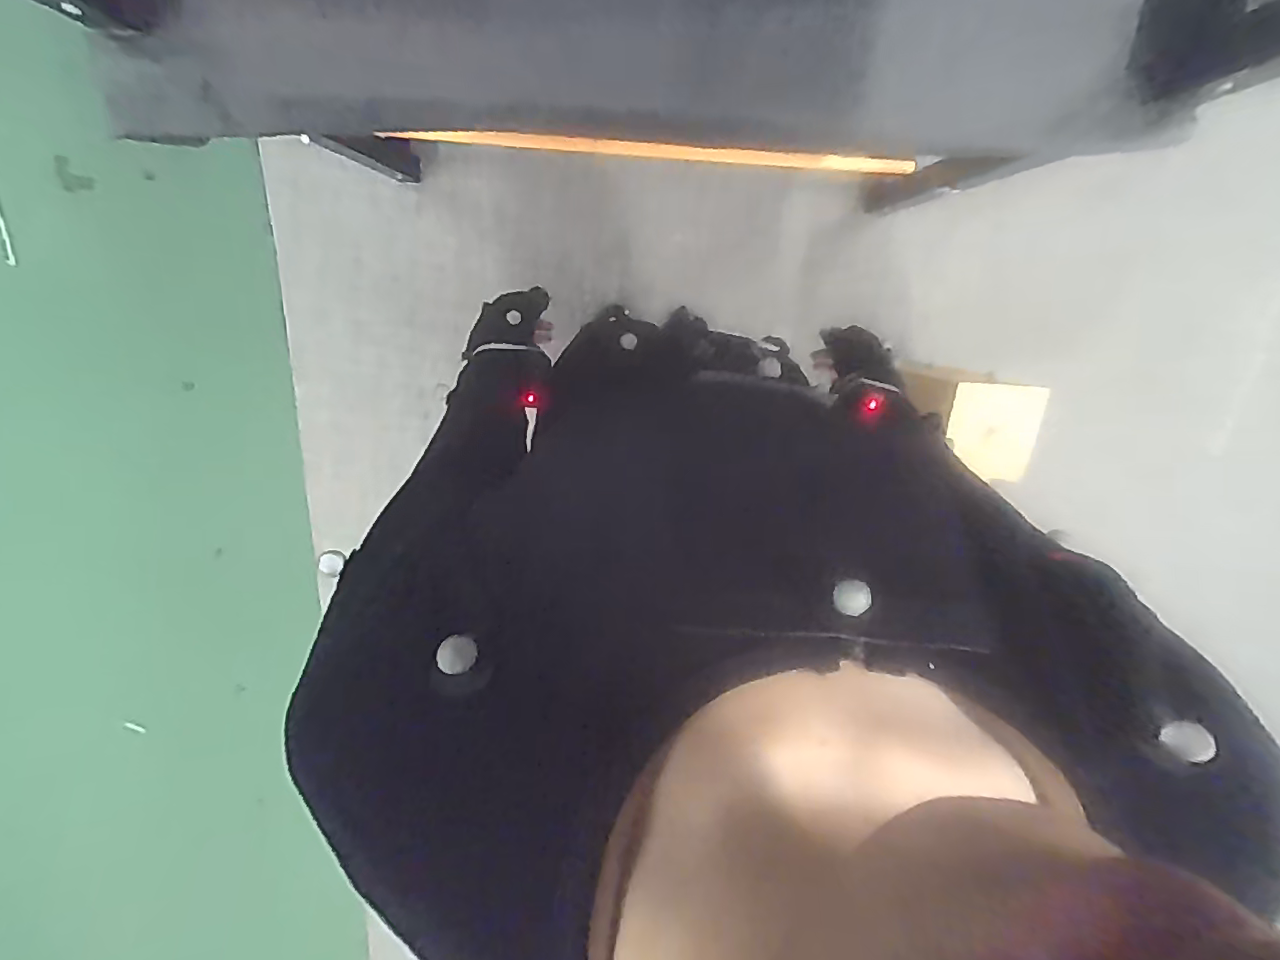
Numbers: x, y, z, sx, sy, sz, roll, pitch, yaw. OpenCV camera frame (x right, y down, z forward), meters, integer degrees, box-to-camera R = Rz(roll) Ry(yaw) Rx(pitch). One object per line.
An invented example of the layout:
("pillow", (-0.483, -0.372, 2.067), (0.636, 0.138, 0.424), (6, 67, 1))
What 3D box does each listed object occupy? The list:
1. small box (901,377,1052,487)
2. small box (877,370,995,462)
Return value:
("small box", (0.628, -0.100, 1.036), (0.168, 0.176, 0.179), (4, 108, 0))
("small box", (0.644, -0.144, 1.192), (0.168, 0.176, 0.179), (1, 107, 1))
